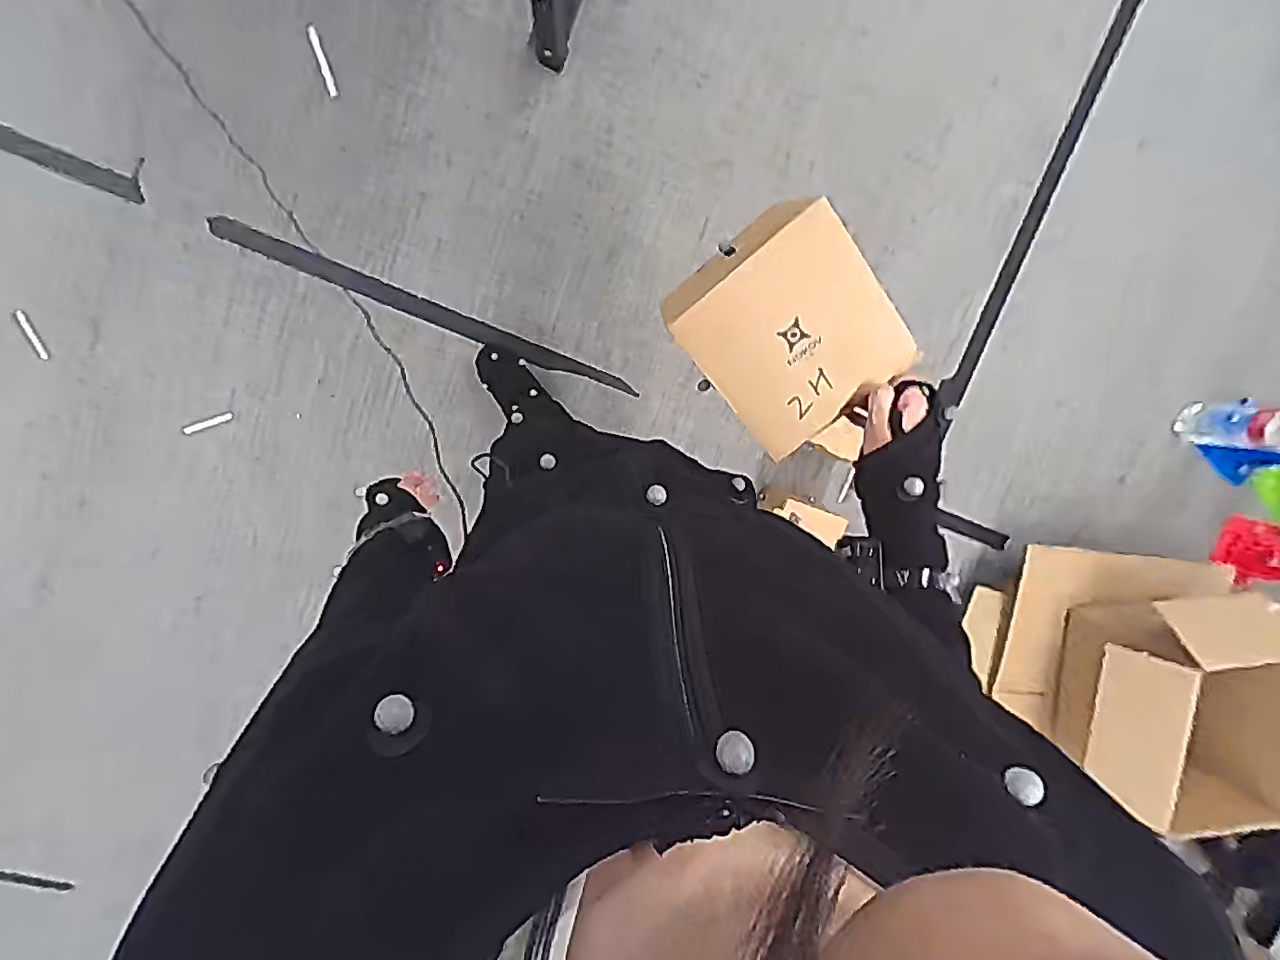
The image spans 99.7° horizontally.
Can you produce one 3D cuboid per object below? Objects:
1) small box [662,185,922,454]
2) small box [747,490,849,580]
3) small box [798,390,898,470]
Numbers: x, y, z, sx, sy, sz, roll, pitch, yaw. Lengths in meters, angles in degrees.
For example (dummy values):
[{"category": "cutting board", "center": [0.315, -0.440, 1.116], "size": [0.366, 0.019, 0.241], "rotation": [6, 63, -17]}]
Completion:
[{"category": "small box", "center": [0.136, -0.163, 0.552], "size": [0.168, 0.176, 0.179], "rotation": [-38, 111, 16]}, {"category": "small box", "center": [0.402, 0.135, 1.412], "size": [0.179, 0.176, 0.168], "rotation": [19, 99, -10]}, {"category": "small box", "center": [0.500, -0.149, 1.366], "size": [0.168, 0.176, 0.179], "rotation": [26, 98, -10]}]
